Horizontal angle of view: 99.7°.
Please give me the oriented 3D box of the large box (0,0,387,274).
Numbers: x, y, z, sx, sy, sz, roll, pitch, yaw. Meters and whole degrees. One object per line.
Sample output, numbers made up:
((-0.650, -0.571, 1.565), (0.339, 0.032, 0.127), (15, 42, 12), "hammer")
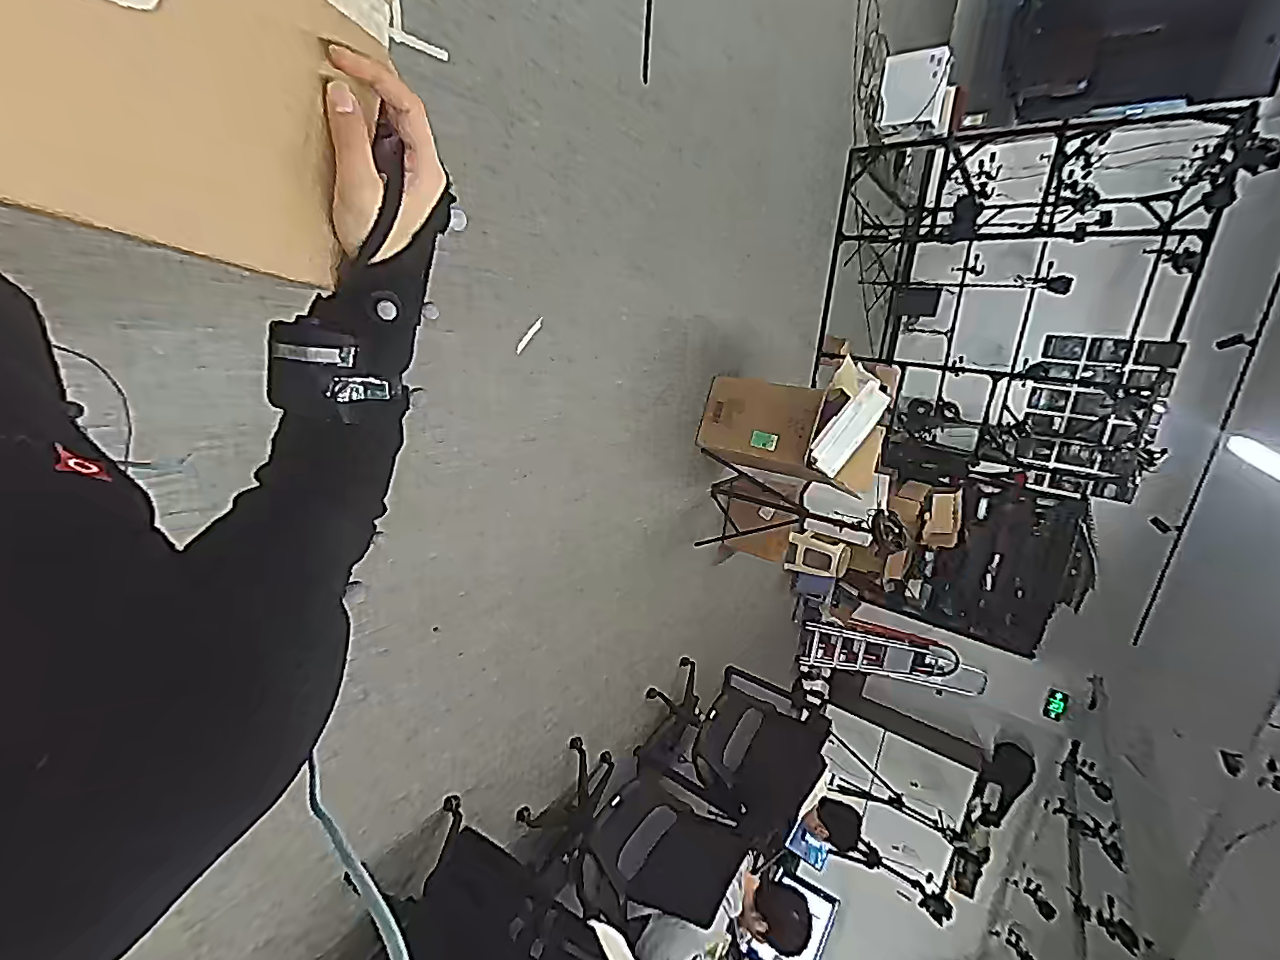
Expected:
((-0.380, -0.313, 0.223), (0.408, 0.320, 0.320), (-6, 114, -62), "large box")
